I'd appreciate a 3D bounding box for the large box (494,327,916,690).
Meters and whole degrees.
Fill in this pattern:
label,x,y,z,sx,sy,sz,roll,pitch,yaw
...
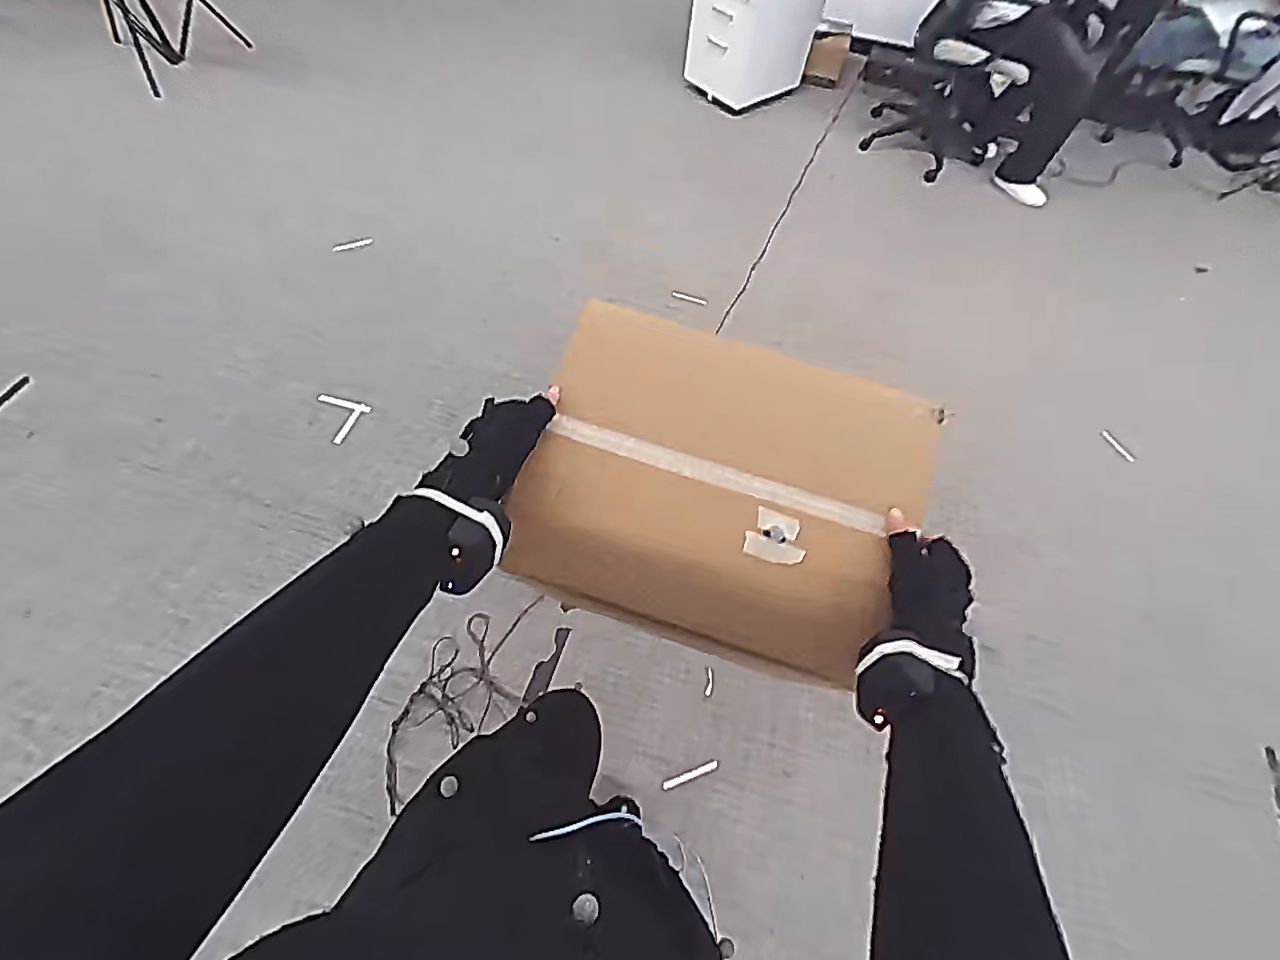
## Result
label,x,y,z,sx,sy,sz,roll,pitch,yaw
large box,0.075,0.057,0.722,0.408,0.320,0.320,18,73,3
